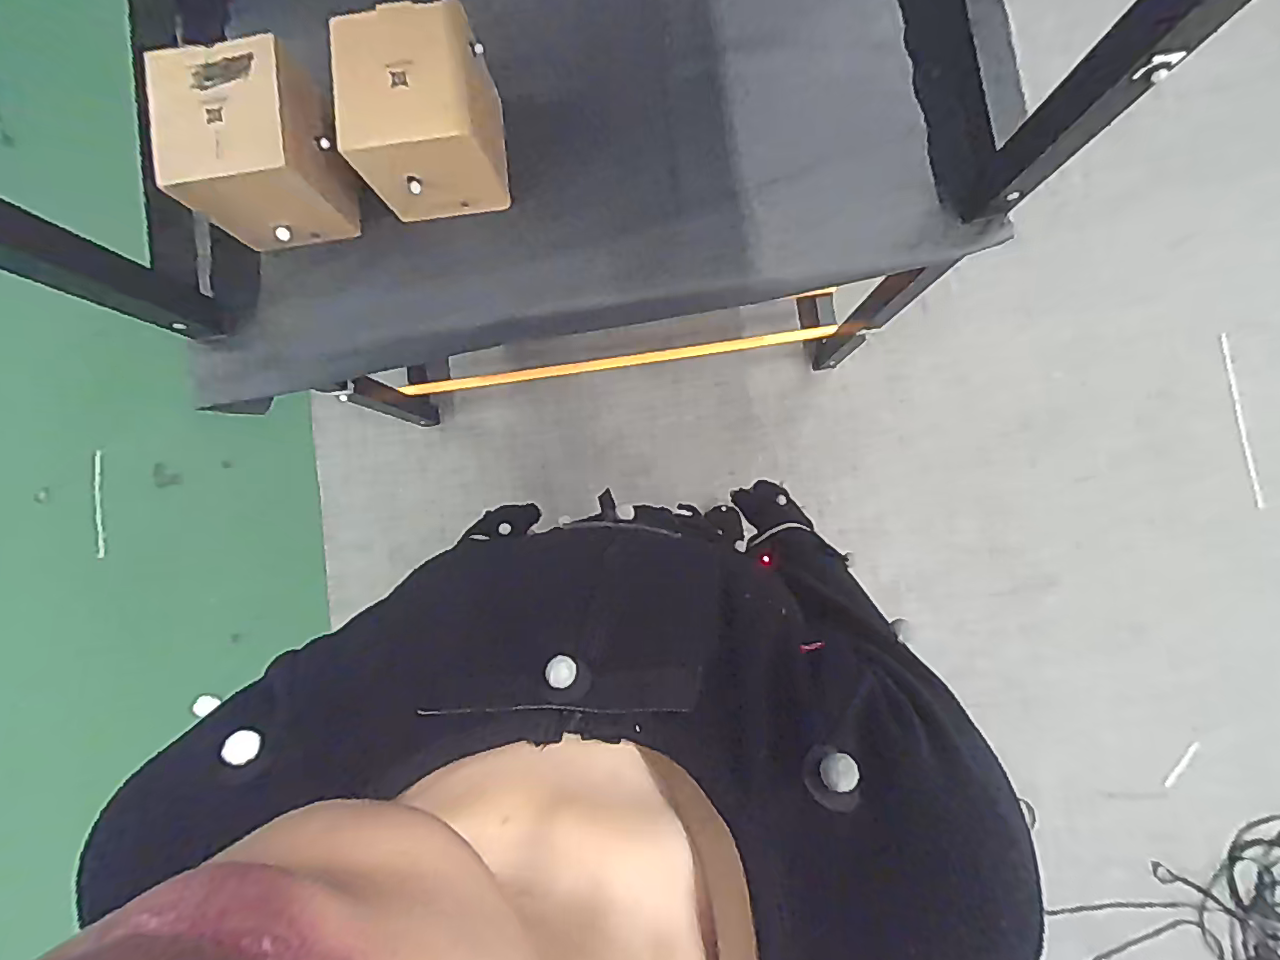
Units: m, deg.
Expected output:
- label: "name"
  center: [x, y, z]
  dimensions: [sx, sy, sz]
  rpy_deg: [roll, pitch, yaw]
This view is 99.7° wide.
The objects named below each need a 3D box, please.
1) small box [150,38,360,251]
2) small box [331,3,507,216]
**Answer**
- label: "small box"
  center: [-0.513, -0.446, 0.742]
  dimensions: [0.168, 0.176, 0.179]
  rpy_deg: [-8, 86, 2]
- label: "small box"
  center: [-0.289, -0.484, 0.738]
  dimensions: [0.168, 0.176, 0.179]
  rpy_deg: [-7, 85, 2]
